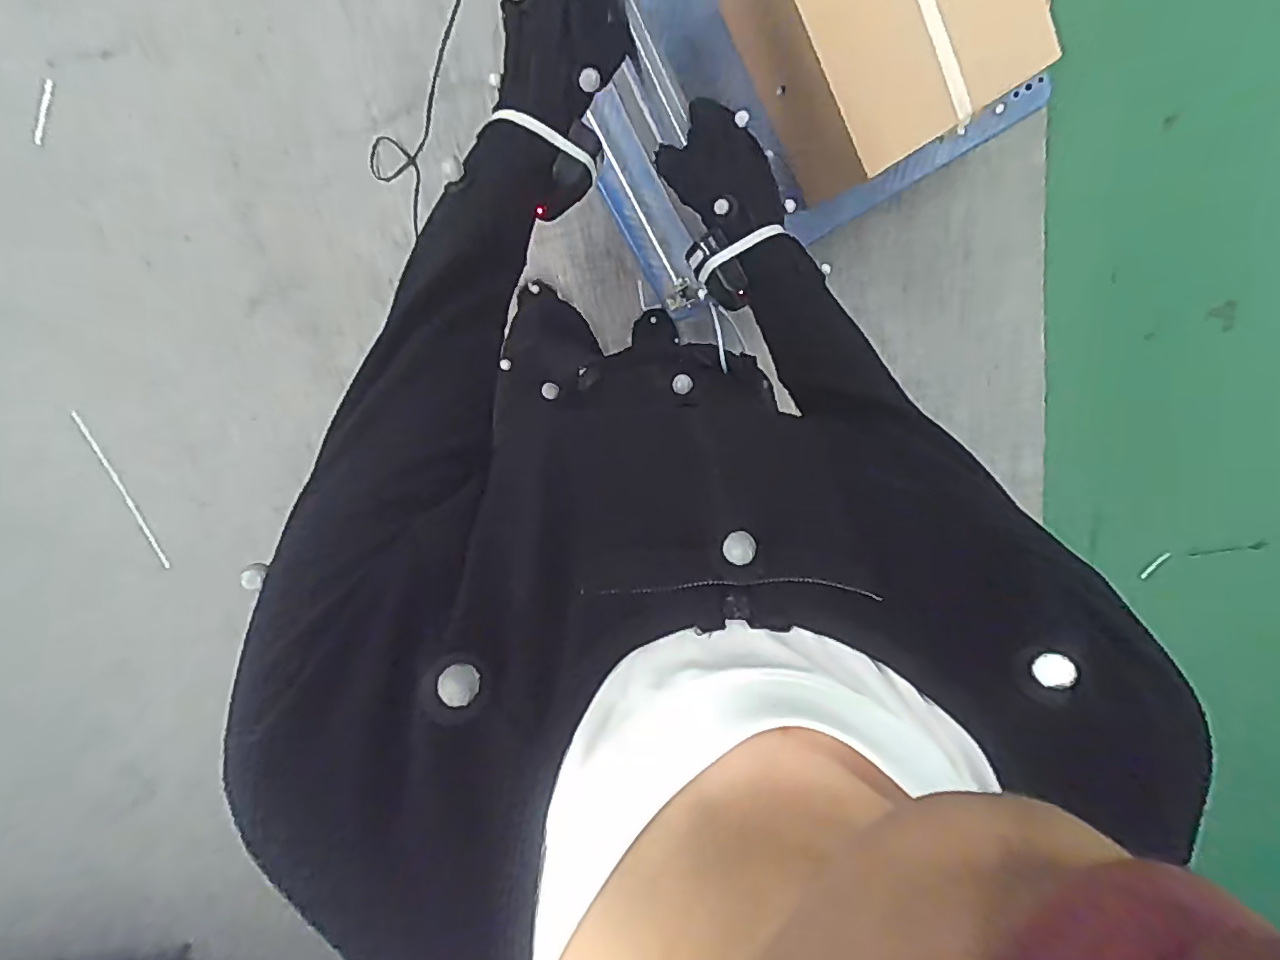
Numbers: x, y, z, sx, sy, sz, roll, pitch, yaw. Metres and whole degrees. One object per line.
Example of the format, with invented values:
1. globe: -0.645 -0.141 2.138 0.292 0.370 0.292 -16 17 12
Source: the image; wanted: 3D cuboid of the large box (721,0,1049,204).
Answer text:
1. large box: 0.380 -0.761 0.918 0.320 0.320 0.408 -30 106 8
